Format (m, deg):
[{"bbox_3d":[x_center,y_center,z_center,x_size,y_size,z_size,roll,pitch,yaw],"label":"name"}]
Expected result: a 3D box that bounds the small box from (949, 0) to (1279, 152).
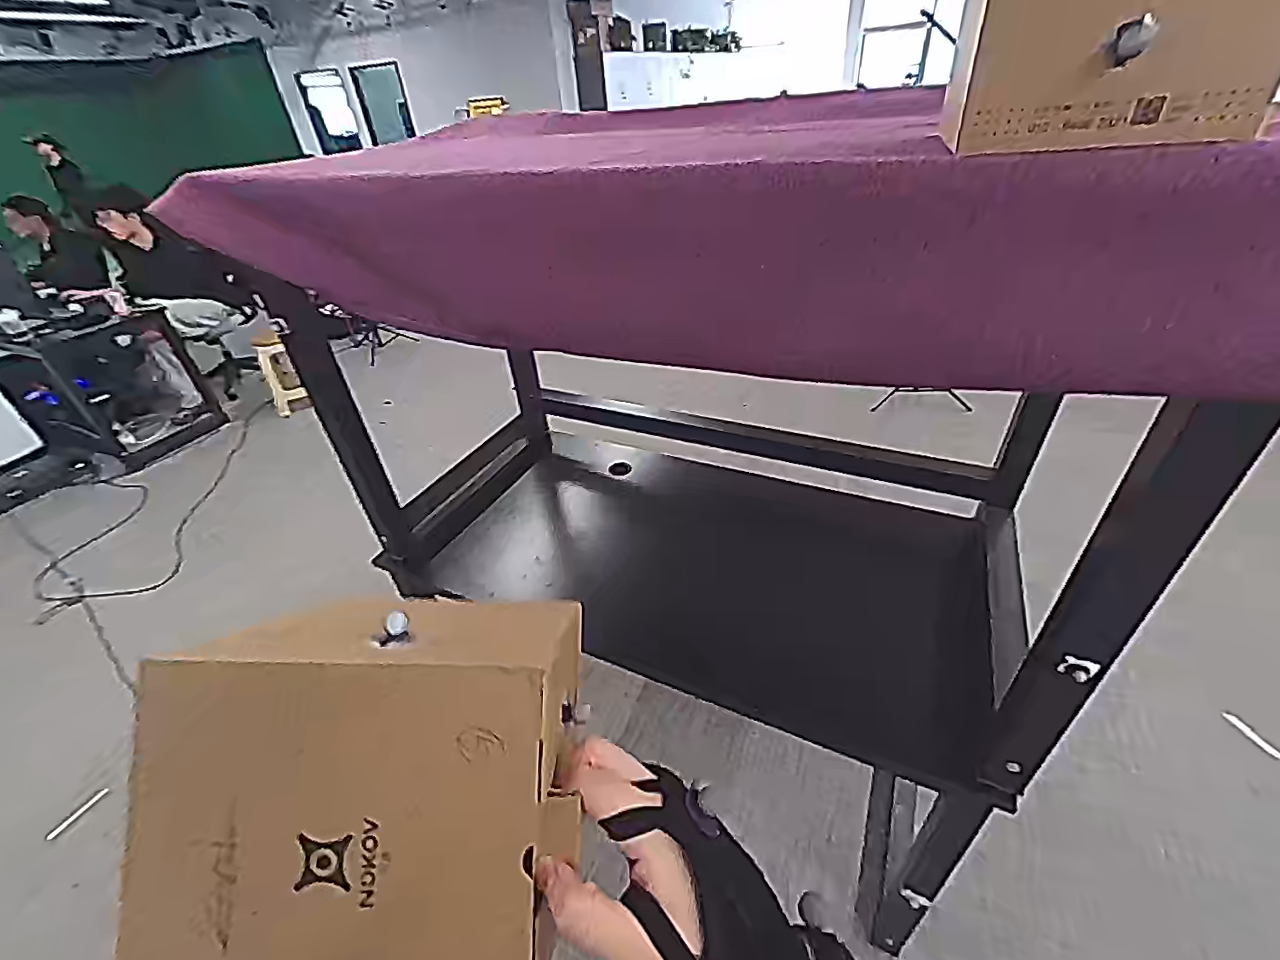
[{"bbox_3d":[0.325,-0.329,0.369,0.168,0.176,0.179,8,37,19],"label":"small box"}]
